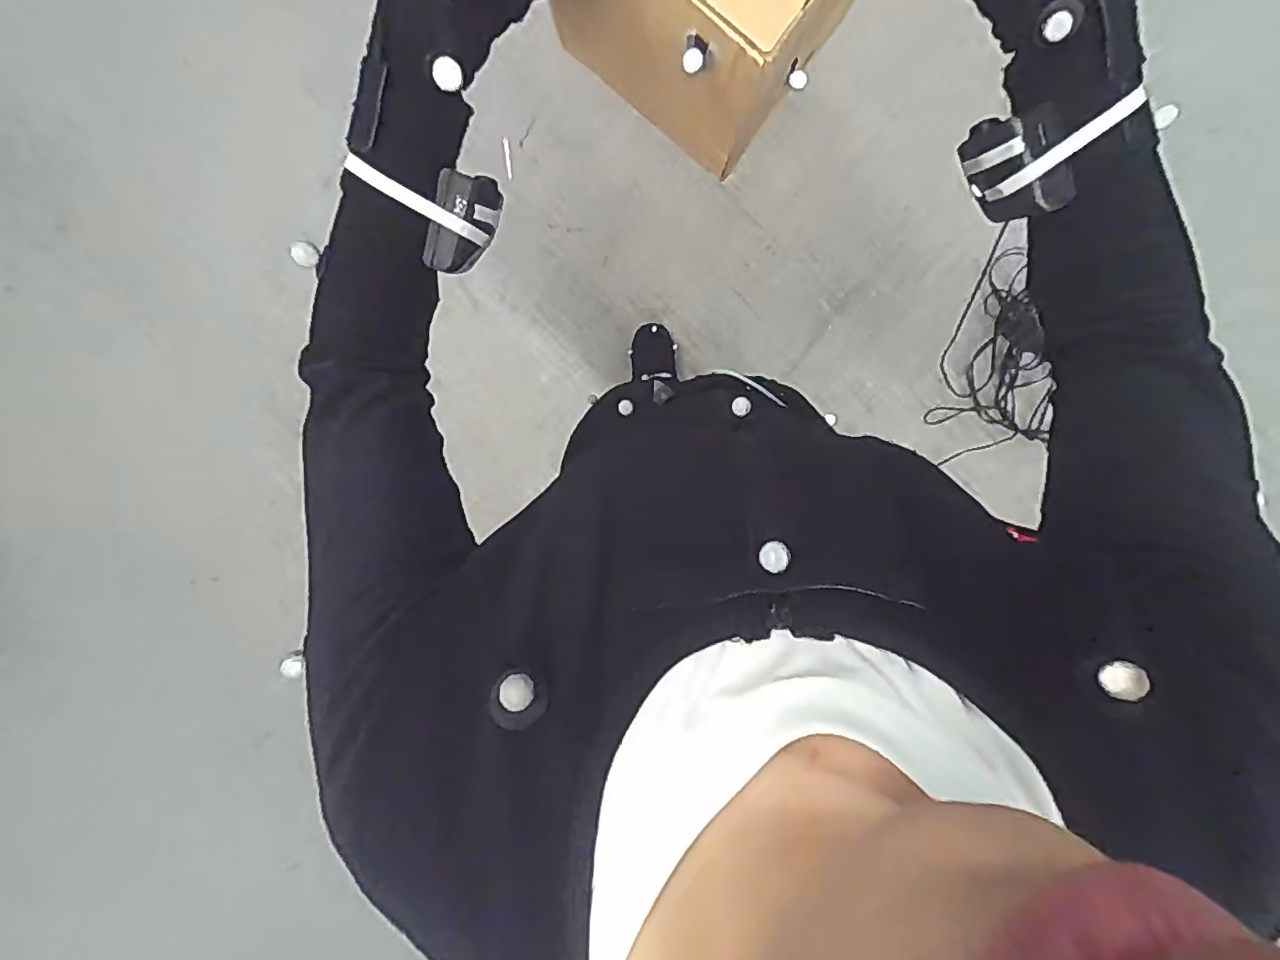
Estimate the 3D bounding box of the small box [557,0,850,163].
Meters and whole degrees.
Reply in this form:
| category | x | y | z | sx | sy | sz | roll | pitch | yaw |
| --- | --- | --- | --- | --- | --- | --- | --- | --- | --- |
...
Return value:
| category | x | y | z | sx | sy | sz | roll | pitch | yaw |
| --- | --- | --- | --- | --- | --- | --- | --- | --- | --- |
| small box | 0.049 | -0.359 | 0.362 | 0.179 | 0.176 | 0.168 | 37 | 97 | -5 |
